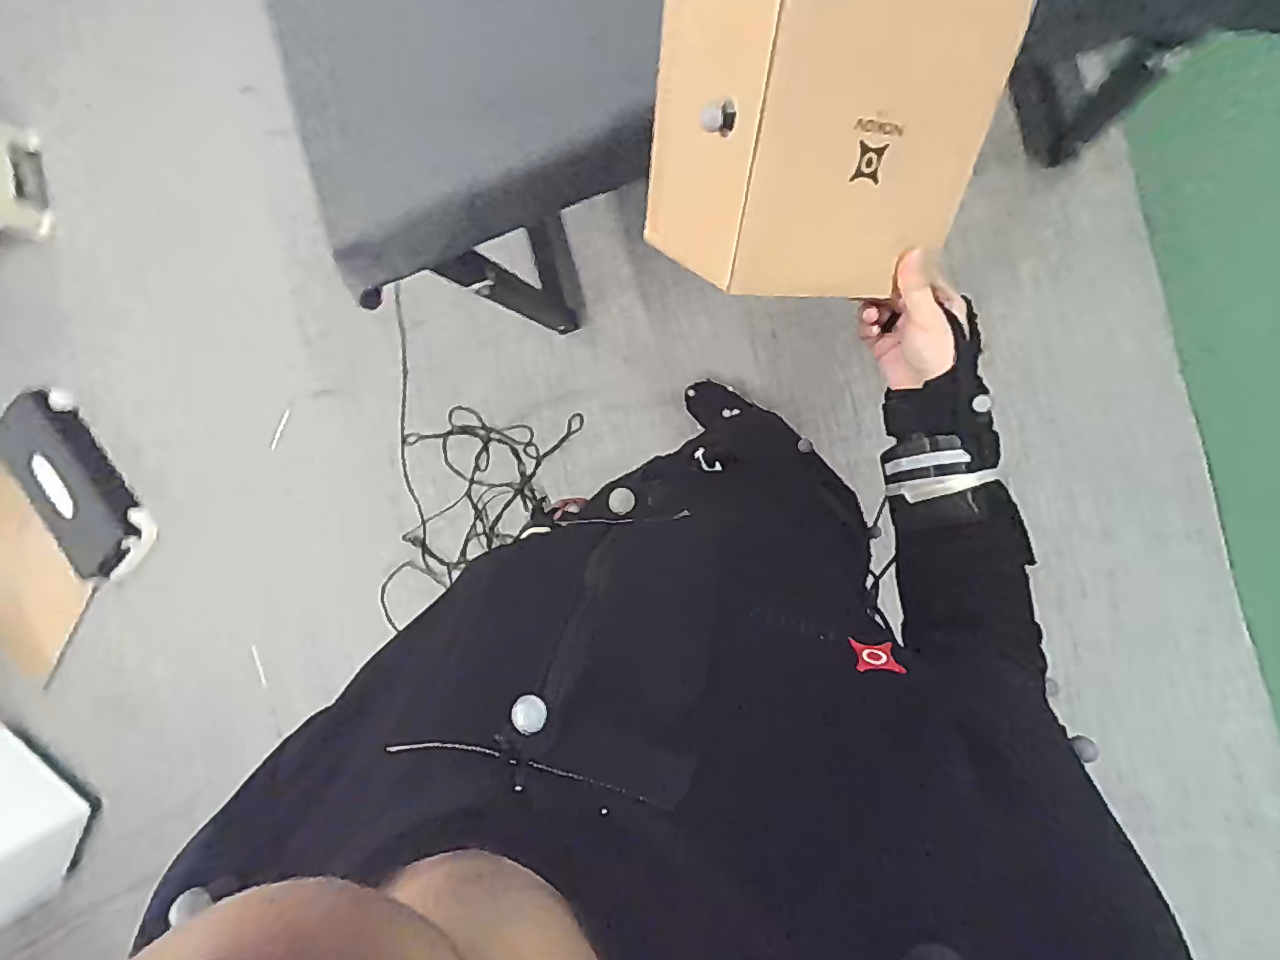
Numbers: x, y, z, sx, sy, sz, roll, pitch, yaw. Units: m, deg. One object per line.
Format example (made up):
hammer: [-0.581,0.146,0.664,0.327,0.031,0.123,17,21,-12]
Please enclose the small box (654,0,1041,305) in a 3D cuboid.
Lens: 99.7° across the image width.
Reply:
small box: [0.118,-0.237,0.388,0.168,0.176,0.179,-6,123,-19]
